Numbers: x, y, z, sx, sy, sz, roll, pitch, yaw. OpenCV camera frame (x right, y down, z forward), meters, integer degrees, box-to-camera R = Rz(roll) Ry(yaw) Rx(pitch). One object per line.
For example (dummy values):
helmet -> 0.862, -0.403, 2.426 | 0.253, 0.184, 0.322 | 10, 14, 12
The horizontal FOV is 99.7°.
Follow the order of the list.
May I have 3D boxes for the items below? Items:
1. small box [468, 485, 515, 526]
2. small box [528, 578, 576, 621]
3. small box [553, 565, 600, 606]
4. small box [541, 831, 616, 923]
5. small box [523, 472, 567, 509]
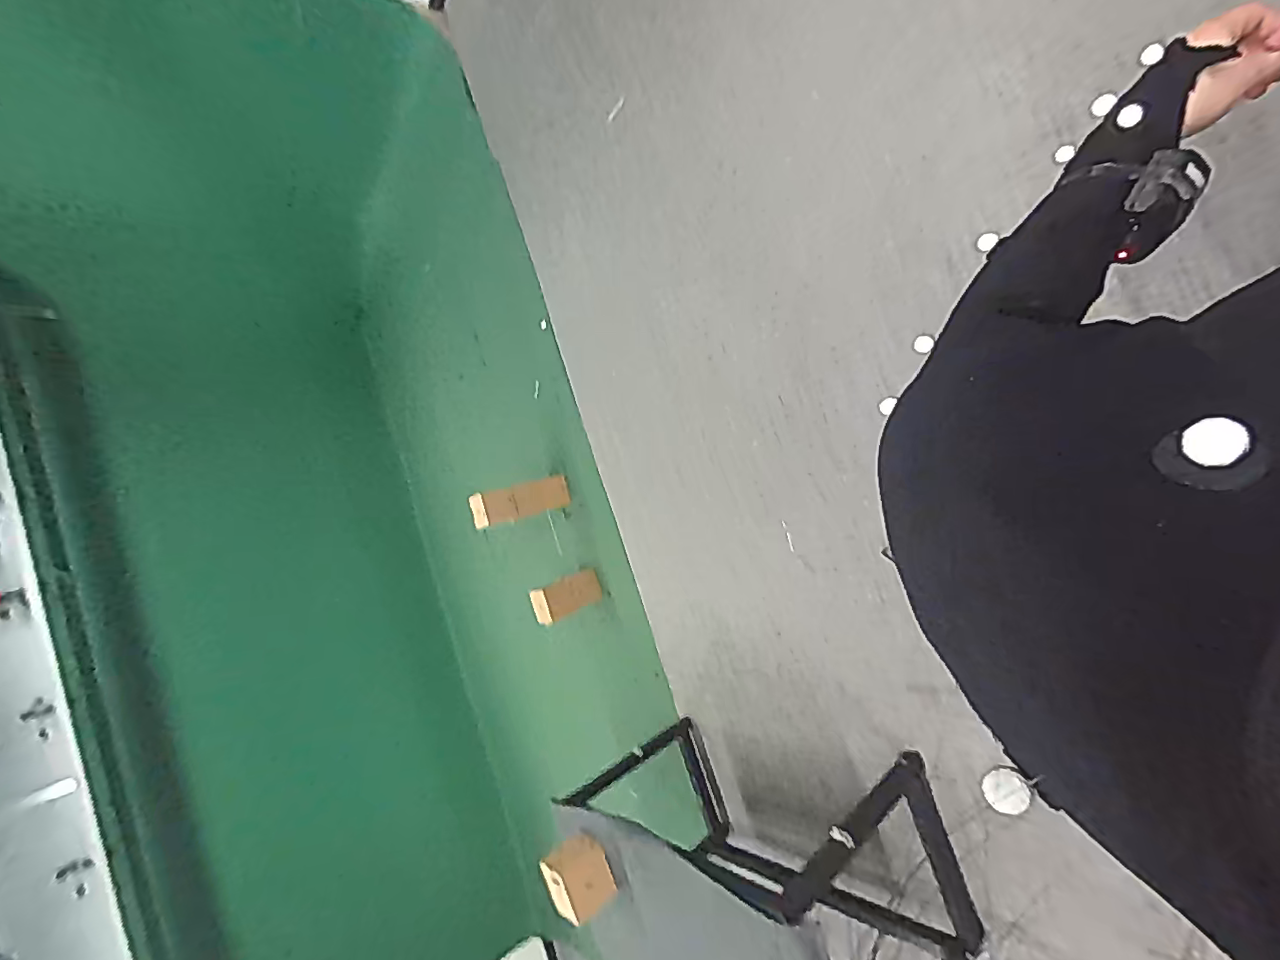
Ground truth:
small box -> -0.761, 0.132, 2.778 | 0.179, 0.176, 0.168 | -17, 88, 52
small box -> -0.460, 0.628, 2.844 | 0.168, 0.176, 0.179 | -20, 86, 51
small box -> -0.342, 0.582, 2.946 | 0.168, 0.176, 0.179 | -24, 84, 50
small box -> -0.212, 1.368, 1.878 | 0.168, 0.176, 0.179 | -23, 88, 51
small box -> -0.521, 0.059, 2.990 | 0.179, 0.176, 0.168 | -10, 94, 52
